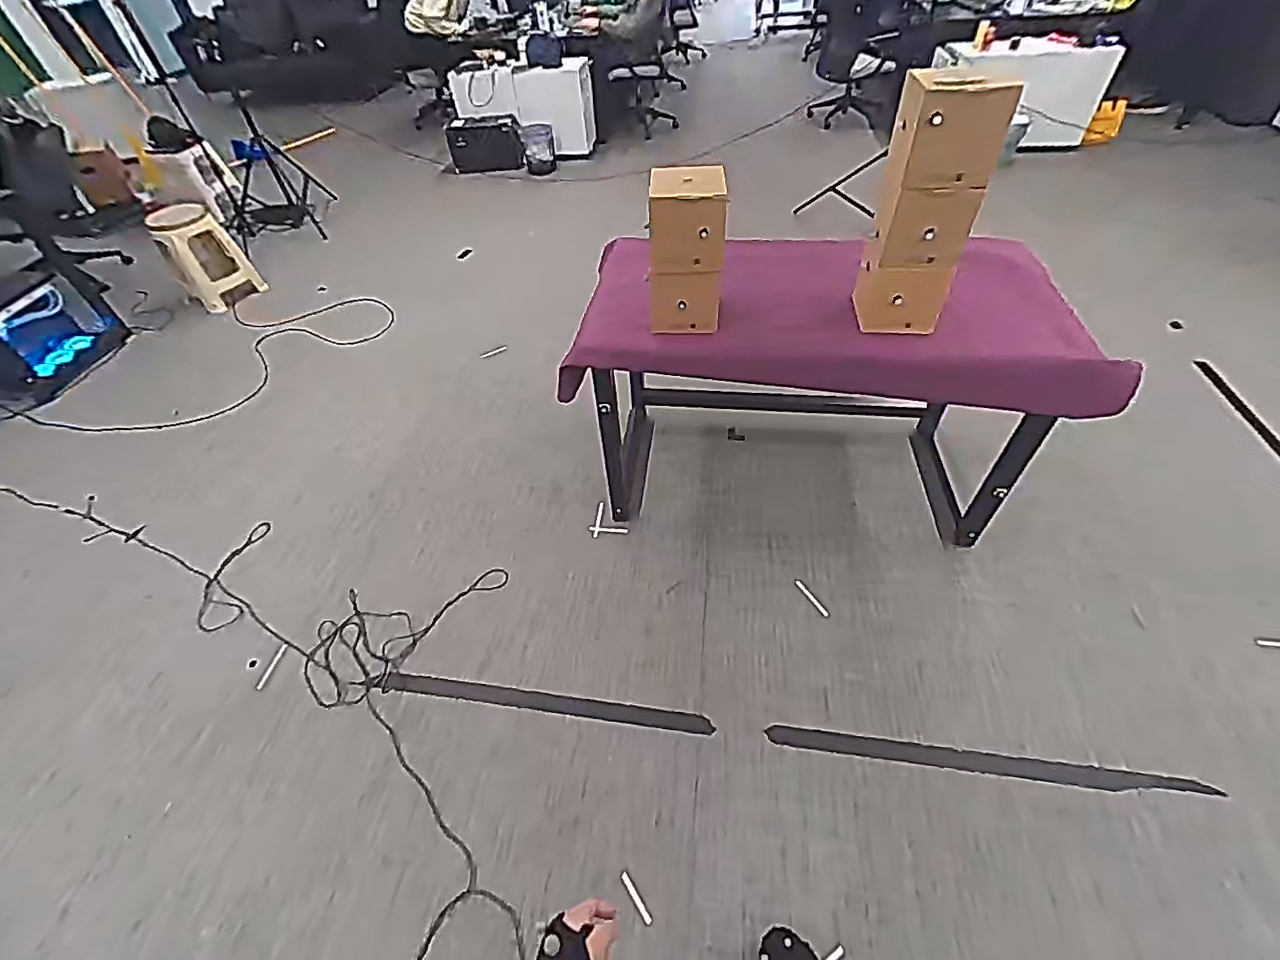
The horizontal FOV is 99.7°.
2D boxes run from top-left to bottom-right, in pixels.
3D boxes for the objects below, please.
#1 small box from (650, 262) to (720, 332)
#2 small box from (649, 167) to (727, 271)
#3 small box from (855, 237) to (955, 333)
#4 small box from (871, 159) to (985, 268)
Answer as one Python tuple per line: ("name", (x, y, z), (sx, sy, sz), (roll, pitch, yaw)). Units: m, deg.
("small box", (0.115, -0.488, 1.360), (0.168, 0.176, 0.179), (1, 47, 5))
("small box", (0.108, -0.592, 1.235), (0.168, 0.176, 0.179), (0, 47, 3))
("small box", (0.632, -0.471, 1.311), (0.168, 0.176, 0.179), (4, 48, 8))
("small box", (0.623, -0.585, 1.194), (0.168, 0.176, 0.179), (4, 48, 9))
